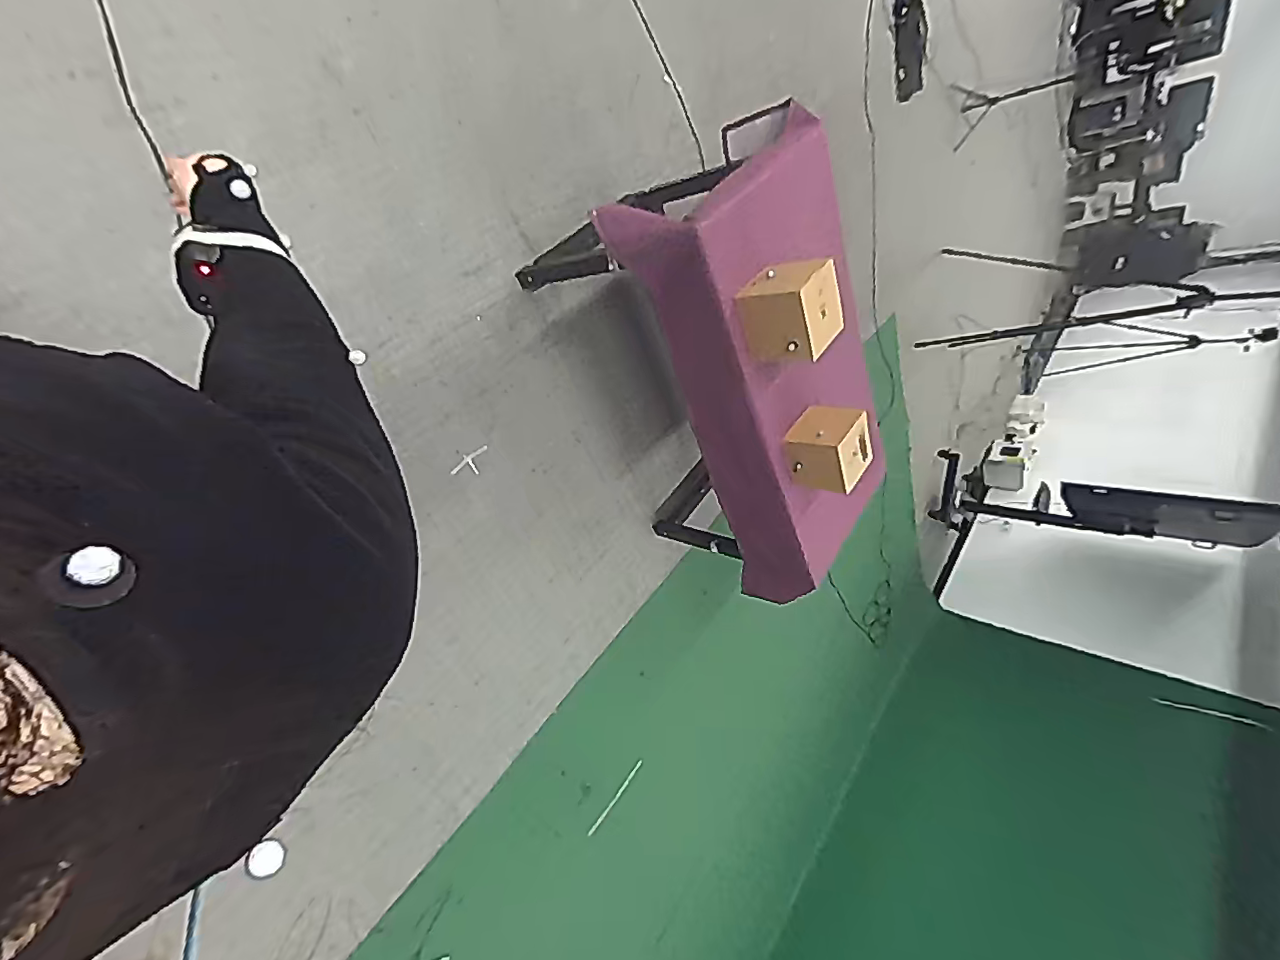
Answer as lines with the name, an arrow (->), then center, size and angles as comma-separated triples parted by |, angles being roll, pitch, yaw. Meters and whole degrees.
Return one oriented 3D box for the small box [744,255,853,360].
small box -> 0.369, -0.397, 1.258 | 0.168, 0.176, 0.179 | -46, 128, -29
